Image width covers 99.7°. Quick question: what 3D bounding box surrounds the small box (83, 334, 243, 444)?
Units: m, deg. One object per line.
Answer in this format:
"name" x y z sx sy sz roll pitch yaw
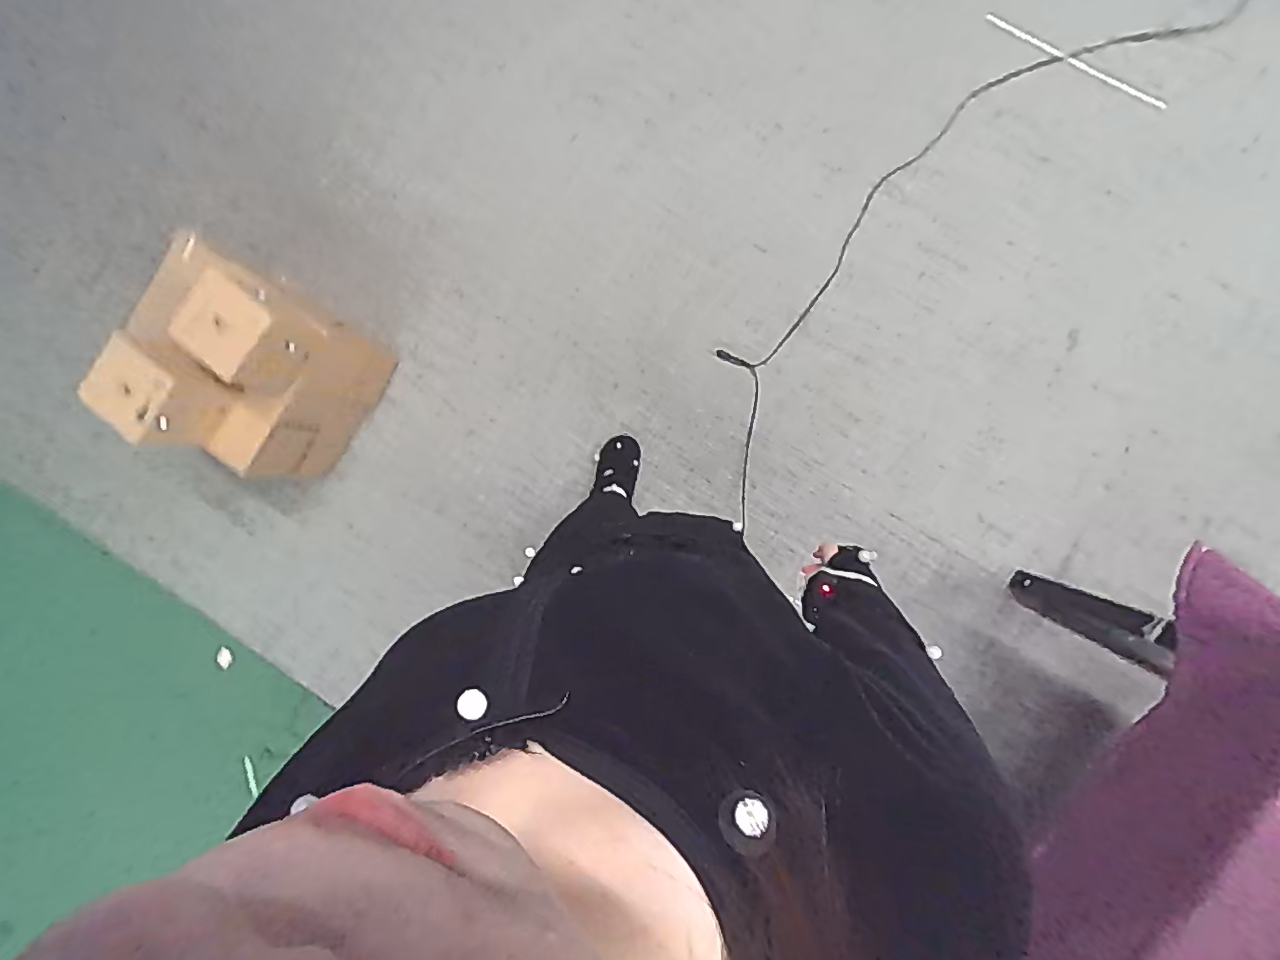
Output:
"small box" -1.047 -0.189 1.200 0.179 0.176 0.168 38 97 5

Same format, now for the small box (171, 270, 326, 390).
"small box" -0.833 -0.312 1.170 0.179 0.176 0.168 39 94 4
